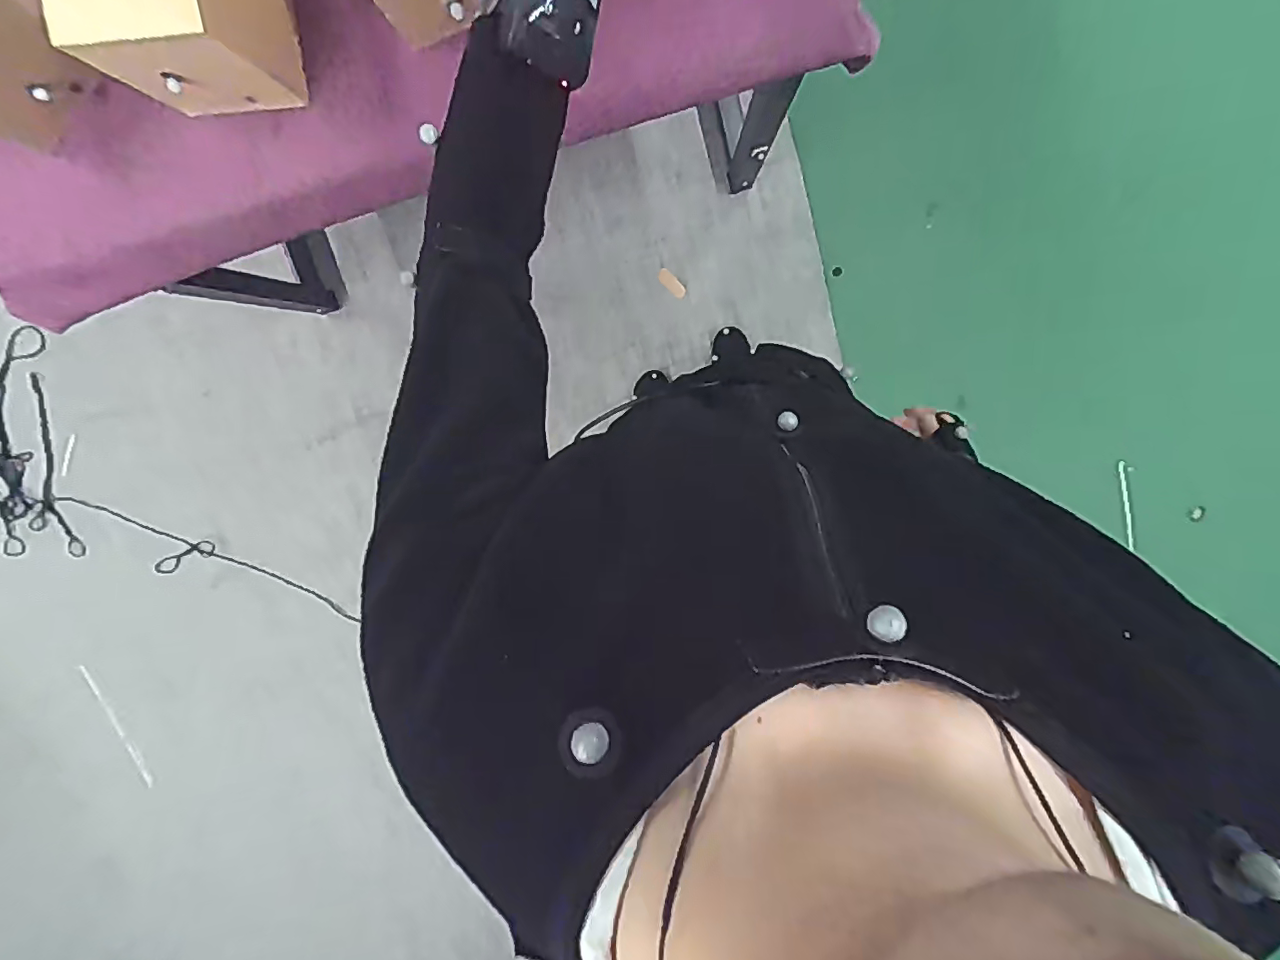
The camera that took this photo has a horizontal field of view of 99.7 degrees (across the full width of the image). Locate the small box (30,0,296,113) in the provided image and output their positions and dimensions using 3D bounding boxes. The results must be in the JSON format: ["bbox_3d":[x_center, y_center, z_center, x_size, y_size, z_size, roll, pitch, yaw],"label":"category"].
[{"bbox_3d":[-0.520,-0.538,0.602,0.168,0.176,0.179,-2,101,3],"label":"small box"}]

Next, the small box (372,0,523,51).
[{"bbox_3d":[-0.243,-0.618,0.573,0.168,0.176,0.179,-19,101,6],"label":"small box"}]

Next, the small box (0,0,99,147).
[{"bbox_3d":[-0.798,-0.527,0.610,0.168,0.176,0.179,-42,98,10],"label":"small box"}]
